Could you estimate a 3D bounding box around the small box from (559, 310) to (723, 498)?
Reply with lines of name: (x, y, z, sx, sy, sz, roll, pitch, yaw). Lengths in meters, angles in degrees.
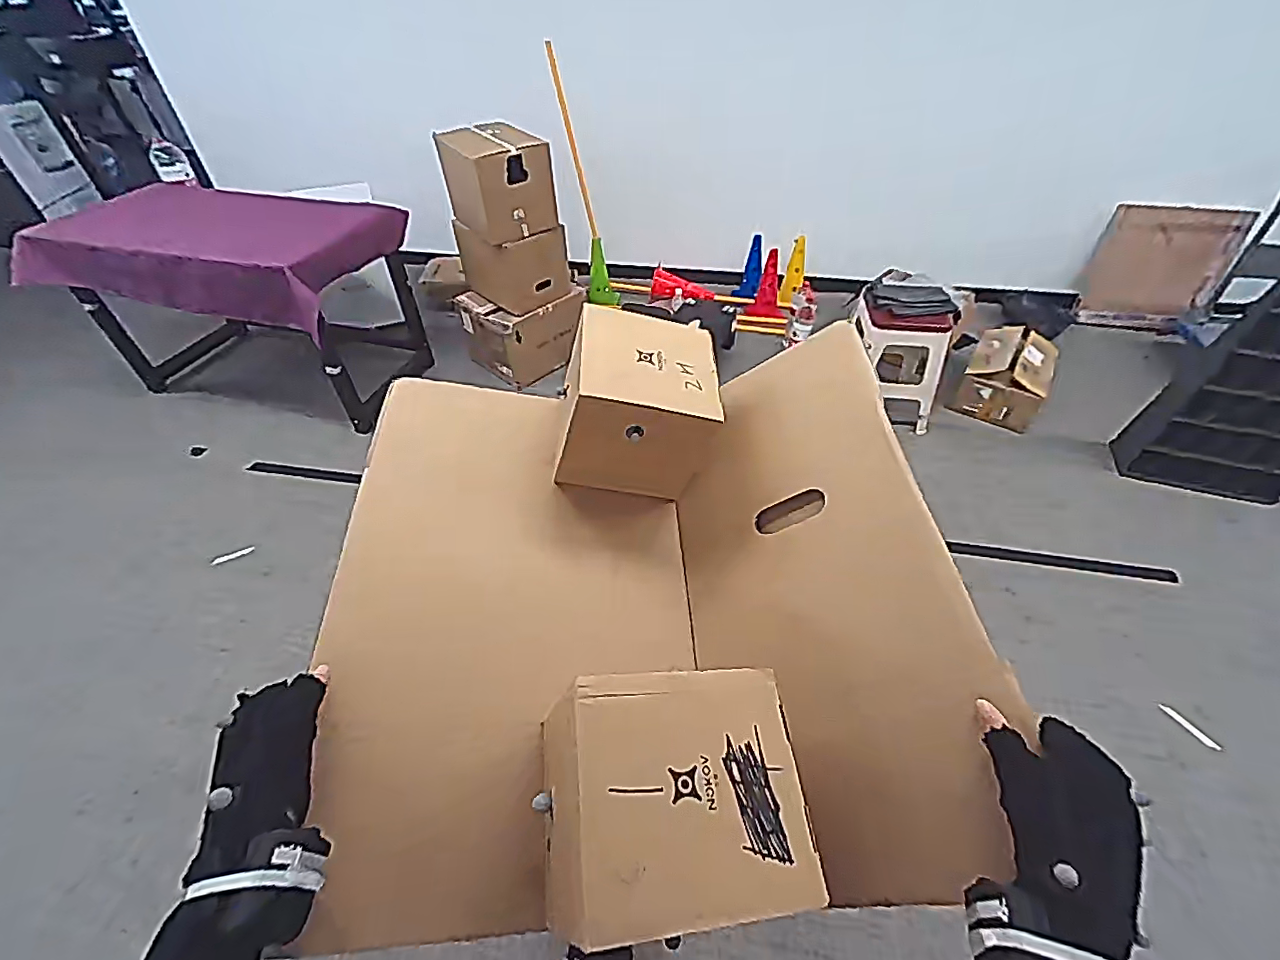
small box: (-0.007, -0.093, 0.725, 0.179, 0.176, 0.168, 10, 52, -14)

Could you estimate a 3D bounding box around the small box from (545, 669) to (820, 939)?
small box: (0.018, 0.269, 0.466, 0.179, 0.176, 0.168, 4, 55, -16)
